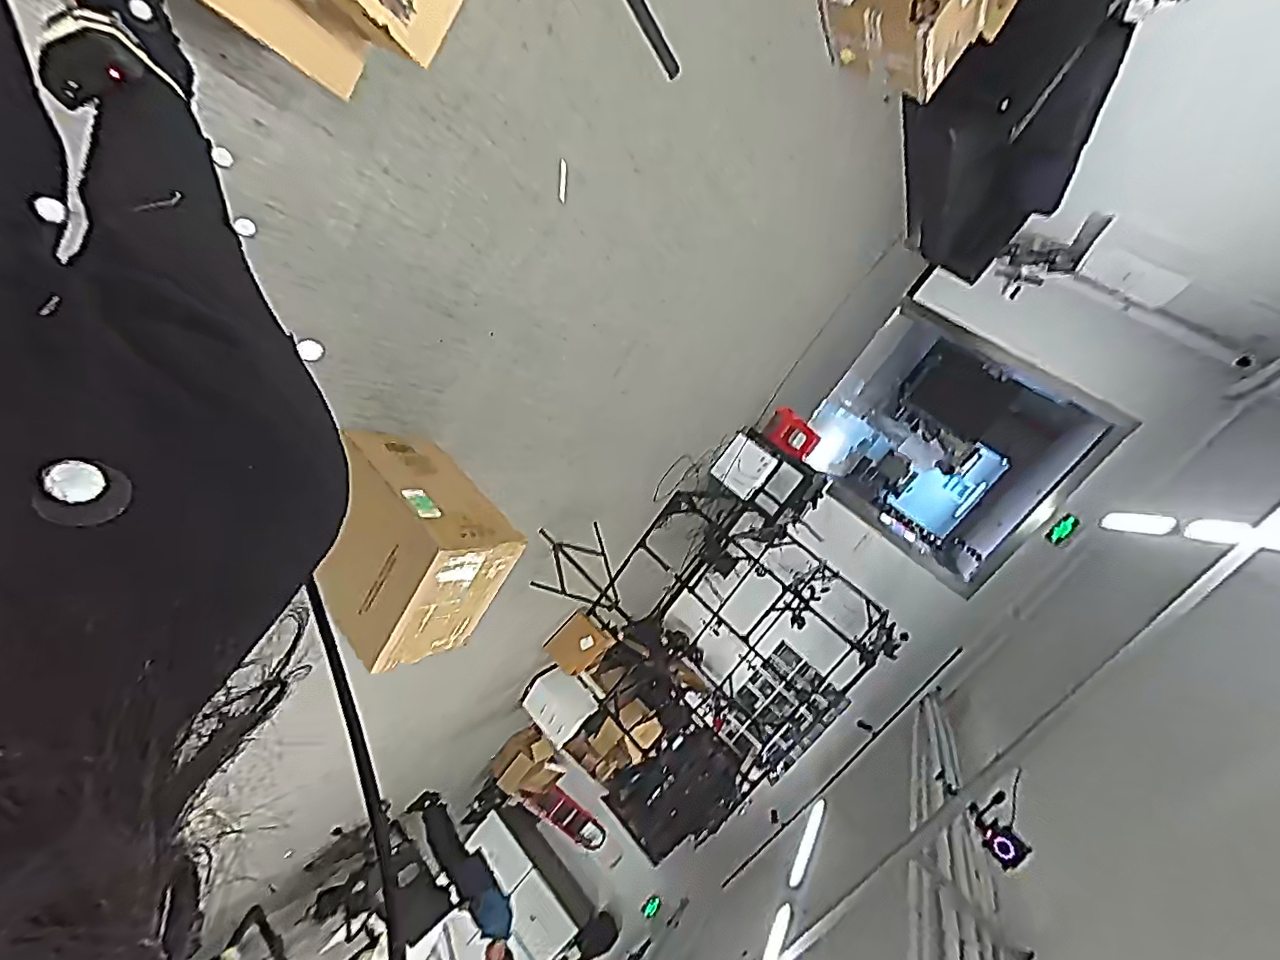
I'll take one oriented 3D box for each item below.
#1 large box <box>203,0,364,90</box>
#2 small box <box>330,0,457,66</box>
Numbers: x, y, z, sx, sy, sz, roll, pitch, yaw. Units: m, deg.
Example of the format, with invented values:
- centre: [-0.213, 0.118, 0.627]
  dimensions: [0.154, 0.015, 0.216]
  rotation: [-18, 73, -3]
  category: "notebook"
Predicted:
- centre: [-0.662, -0.929, 0.834]
  dimensions: [0.320, 0.320, 0.408]
  rotation: [-54, 159, 14]
  category: "large box"
- centre: [-0.412, -0.812, 0.845]
  dimensions: [0.179, 0.176, 0.168]
  rotation: [-54, 158, 9]
  category: "small box"
